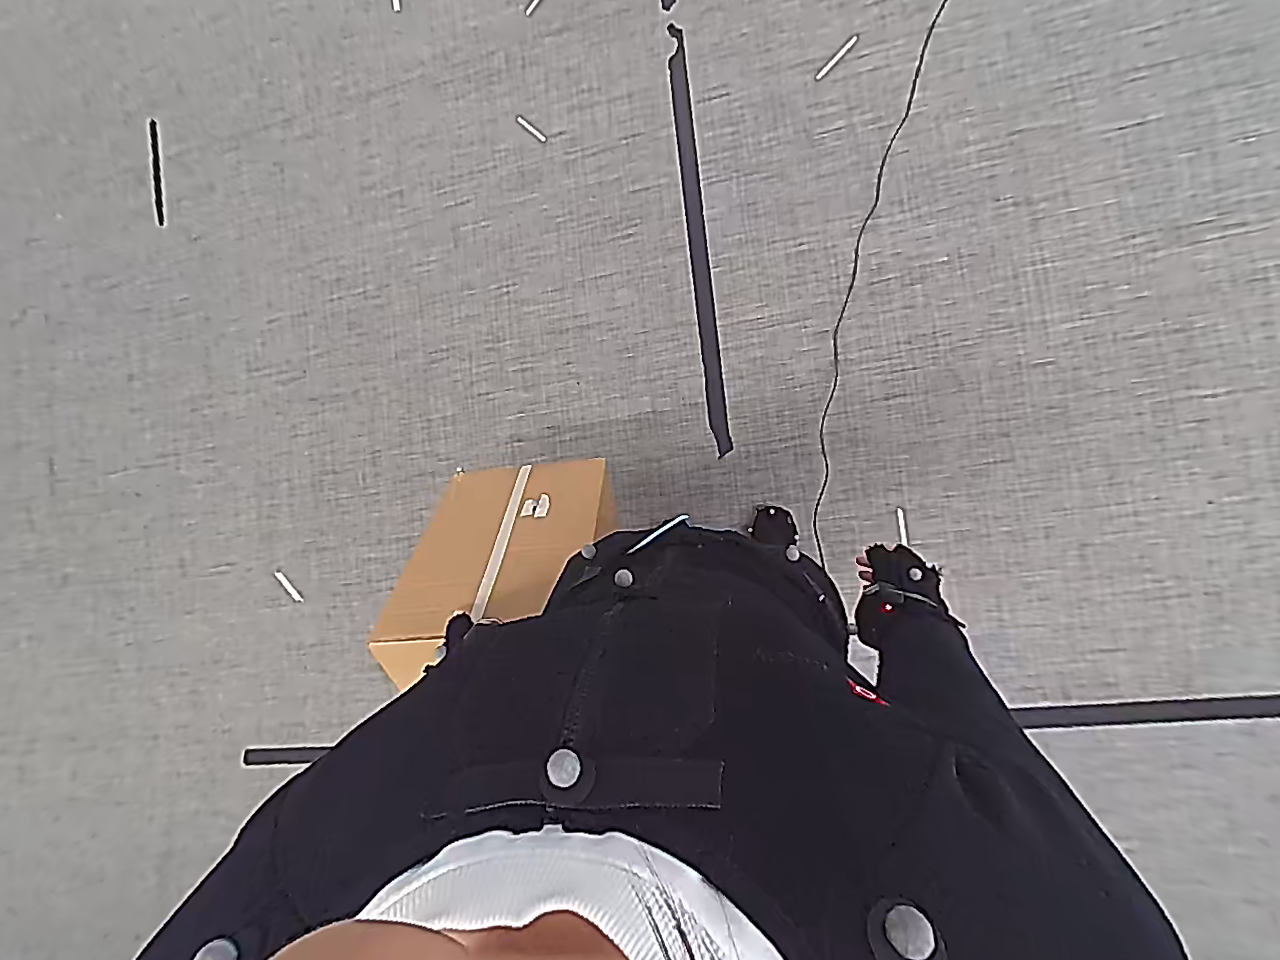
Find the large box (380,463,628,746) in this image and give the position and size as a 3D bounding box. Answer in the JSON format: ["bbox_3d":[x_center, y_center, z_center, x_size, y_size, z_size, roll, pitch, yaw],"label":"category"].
[{"bbox_3d":[-0.201,0.218,1.003,0.320,0.408,0.320,-5,126,6],"label":"large box"}]
